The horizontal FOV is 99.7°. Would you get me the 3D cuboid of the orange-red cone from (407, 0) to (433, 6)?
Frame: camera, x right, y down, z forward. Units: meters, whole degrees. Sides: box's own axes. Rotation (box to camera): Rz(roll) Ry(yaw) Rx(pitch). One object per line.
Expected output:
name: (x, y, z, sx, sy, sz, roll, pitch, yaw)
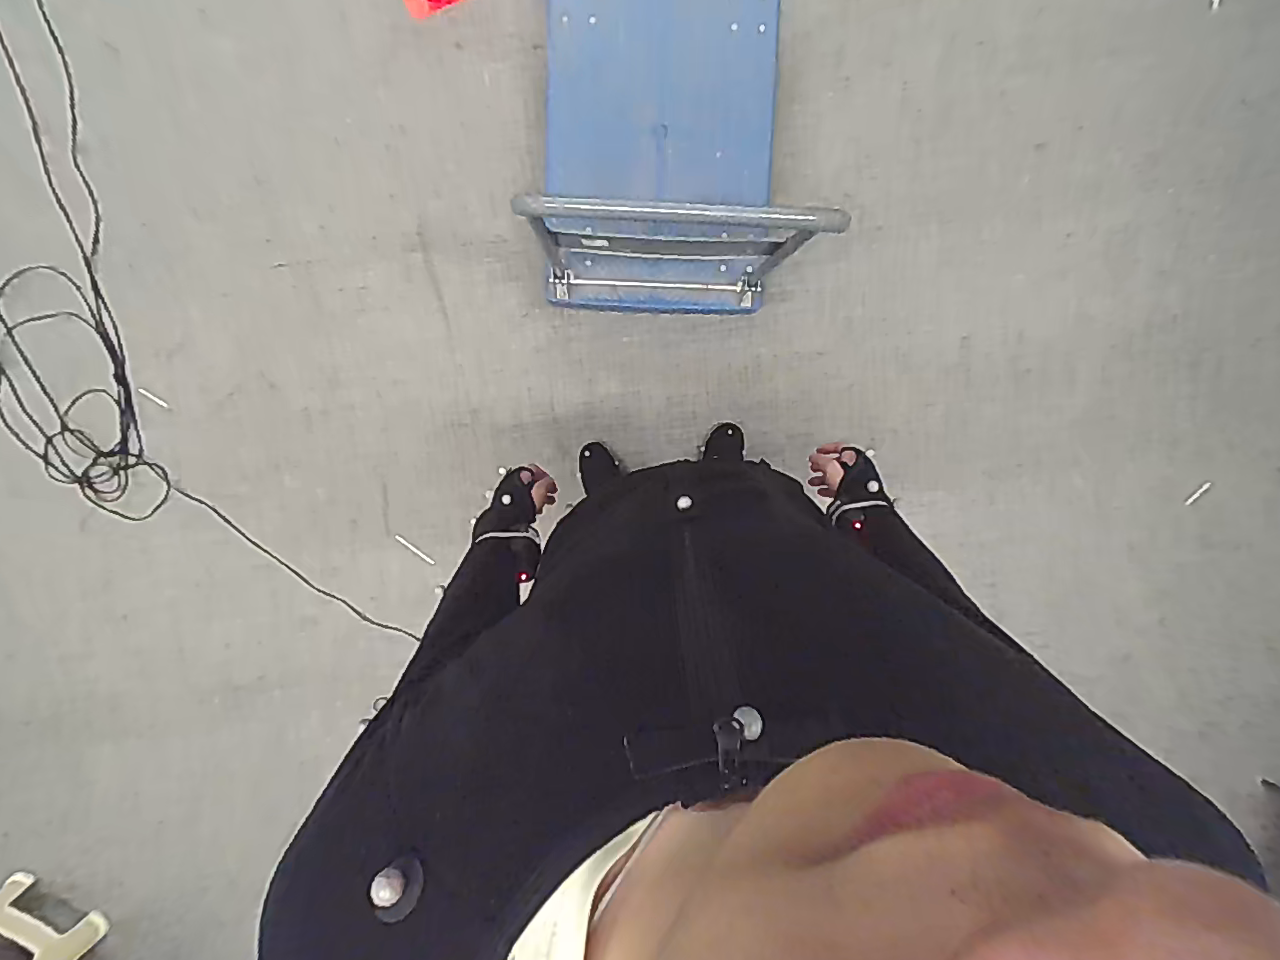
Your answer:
orange-red cone: (-0.572, -1.391, 1.293, 0.199, 0.360, 0.198, -20, 95, 3)
